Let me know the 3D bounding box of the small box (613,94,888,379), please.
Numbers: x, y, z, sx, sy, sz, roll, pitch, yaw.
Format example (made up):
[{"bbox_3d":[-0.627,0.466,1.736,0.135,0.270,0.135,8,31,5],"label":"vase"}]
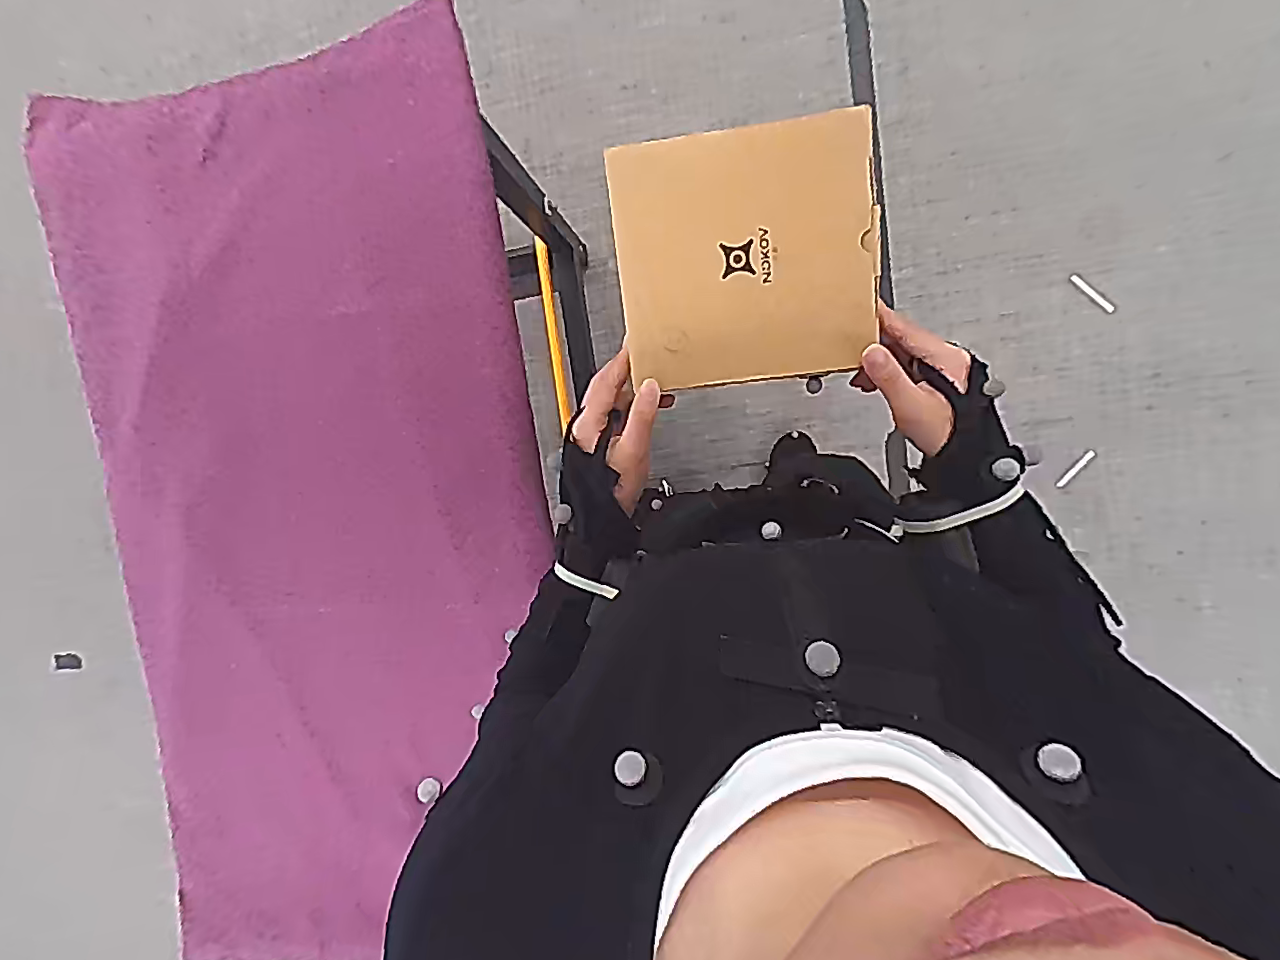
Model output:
[{"bbox_3d":[0.083,-0.173,0.444,0.179,0.176,0.168,-6,101,5],"label":"small box"}]
